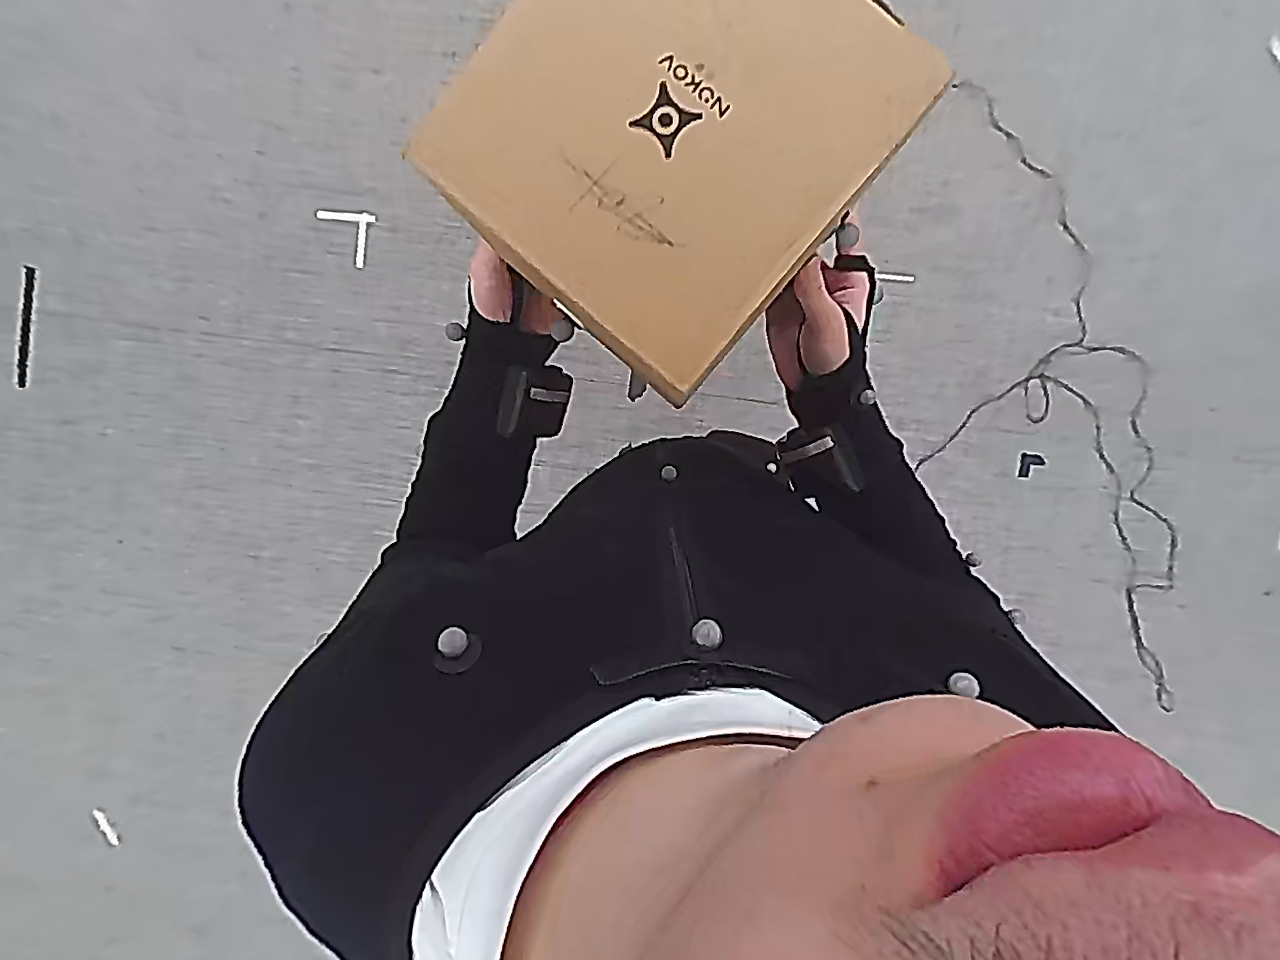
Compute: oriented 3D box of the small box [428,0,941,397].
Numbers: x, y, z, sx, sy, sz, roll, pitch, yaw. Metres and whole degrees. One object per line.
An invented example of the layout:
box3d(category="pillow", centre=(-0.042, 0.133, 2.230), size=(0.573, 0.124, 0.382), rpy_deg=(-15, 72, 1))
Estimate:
box3d(category="small box", centre=(0.021, -0.167, 0.320), size=(0.168, 0.176, 0.179), rpy_deg=(39, 98, 0))
